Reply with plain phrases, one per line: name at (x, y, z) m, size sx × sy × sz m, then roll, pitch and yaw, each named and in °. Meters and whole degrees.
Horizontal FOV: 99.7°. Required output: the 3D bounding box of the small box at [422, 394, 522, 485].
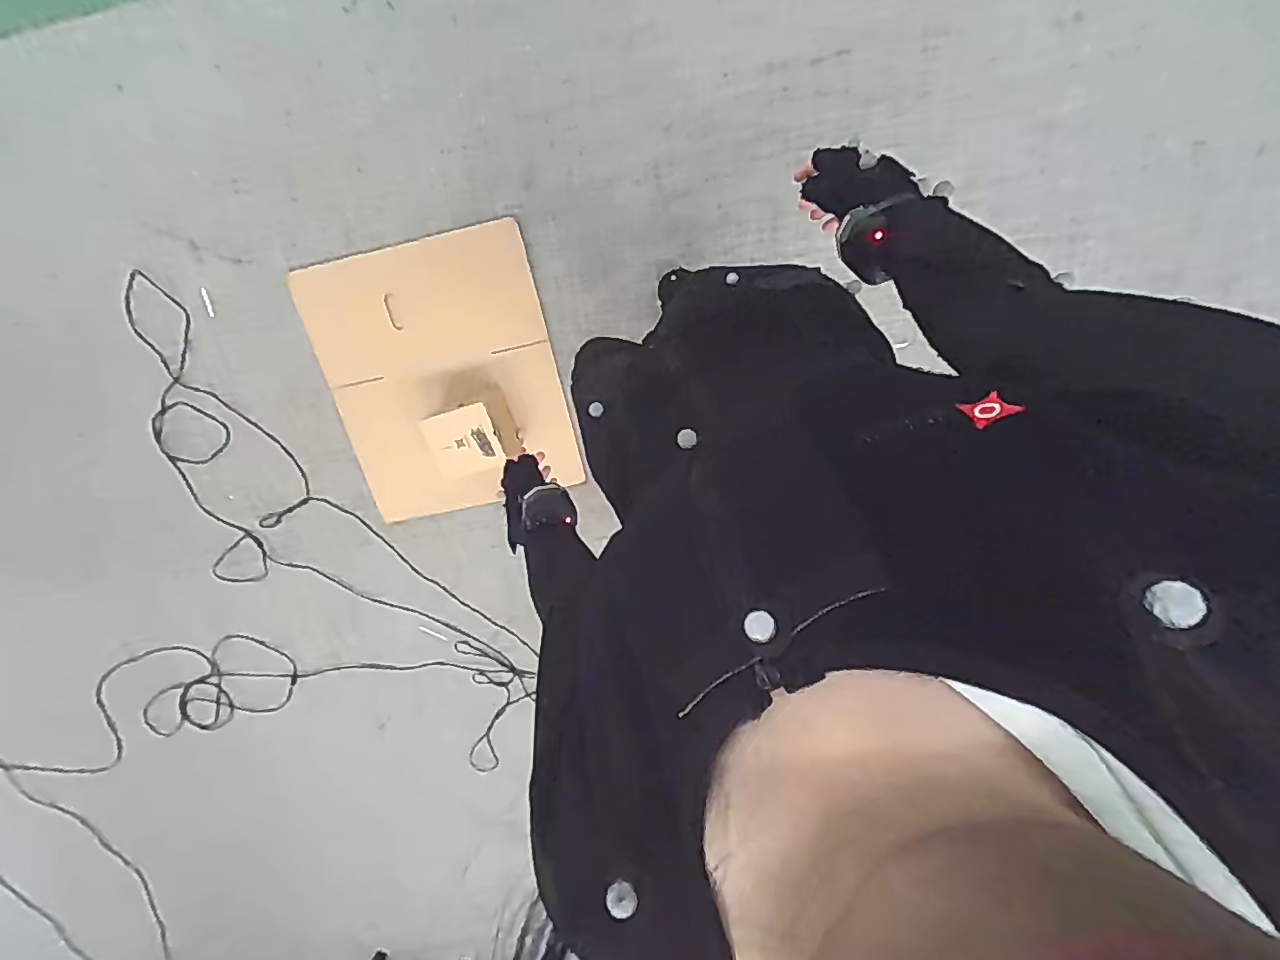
small box at (-0.416, -0.109, 1.382) m, size 0.179 × 0.176 × 0.168 m, roll -15°, pitch 109°, yaw 7°
